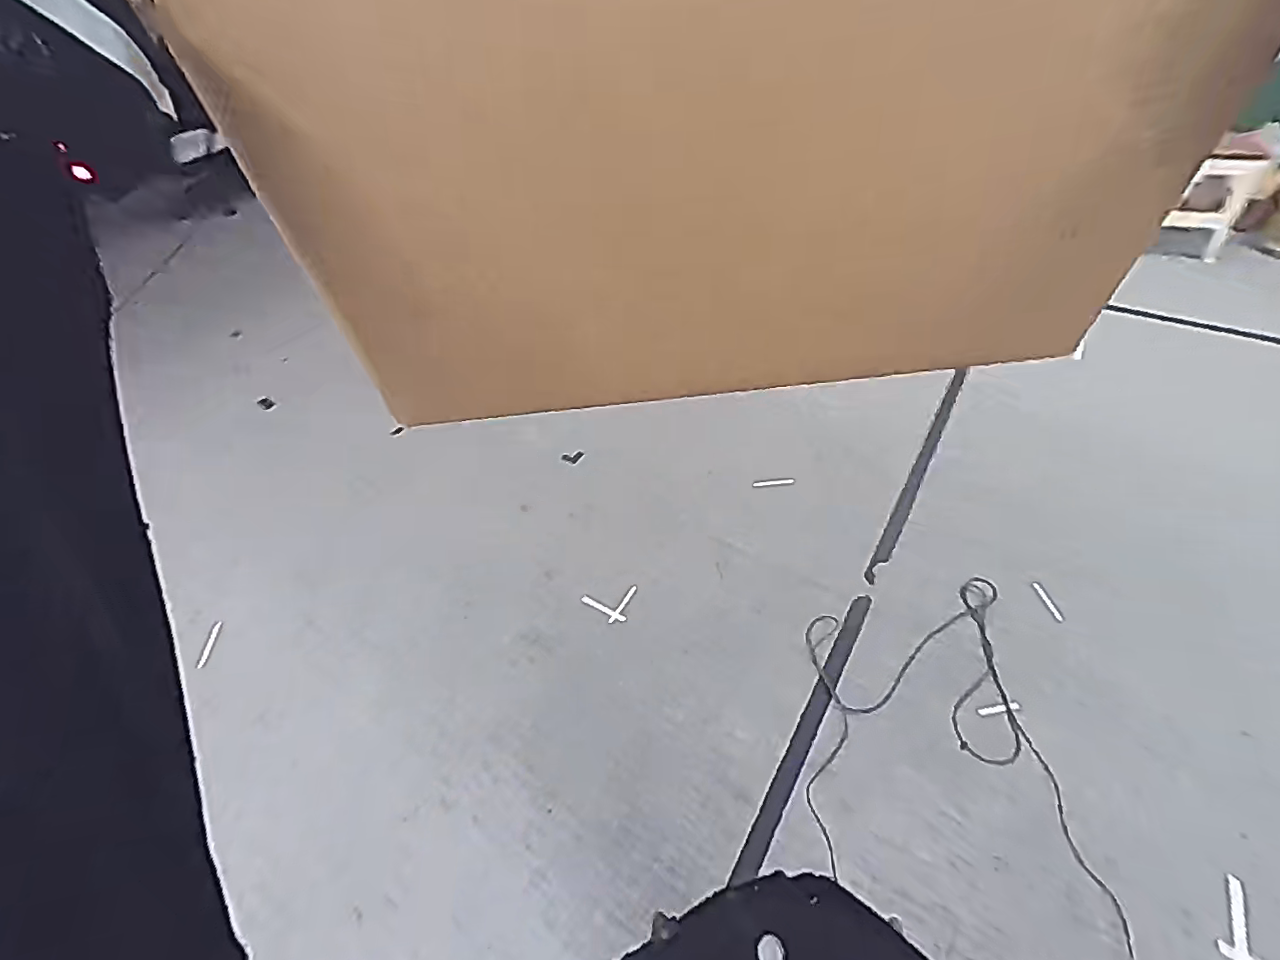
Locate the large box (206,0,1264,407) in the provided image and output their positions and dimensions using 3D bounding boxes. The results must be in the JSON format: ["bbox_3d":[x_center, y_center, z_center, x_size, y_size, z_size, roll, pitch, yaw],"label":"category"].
[{"bbox_3d":[0.035,-0.271,0.309,0.408,0.320,0.320,-6,52,-1],"label":"large box"}]
